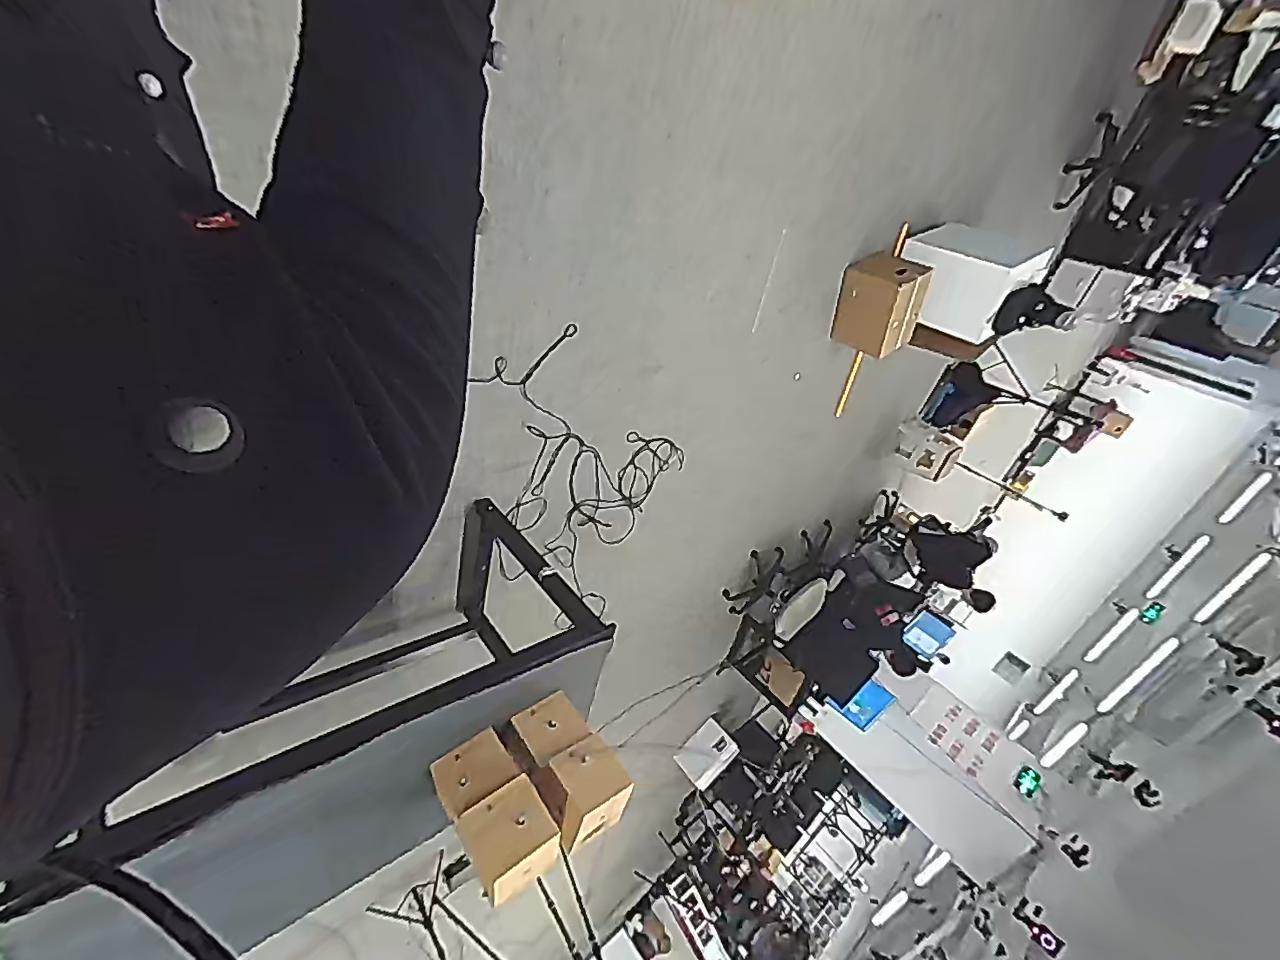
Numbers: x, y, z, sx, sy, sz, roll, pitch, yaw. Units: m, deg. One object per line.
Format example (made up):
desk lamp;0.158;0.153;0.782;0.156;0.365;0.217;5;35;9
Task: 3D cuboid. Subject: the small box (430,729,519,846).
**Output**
small box;-0.418;0.769;1.375;0.168;0.176;0.179;-22;137;-34

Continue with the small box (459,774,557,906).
small box;-0.312;0.831;1.267;0.168;0.176;0.179;-20;135;-35
